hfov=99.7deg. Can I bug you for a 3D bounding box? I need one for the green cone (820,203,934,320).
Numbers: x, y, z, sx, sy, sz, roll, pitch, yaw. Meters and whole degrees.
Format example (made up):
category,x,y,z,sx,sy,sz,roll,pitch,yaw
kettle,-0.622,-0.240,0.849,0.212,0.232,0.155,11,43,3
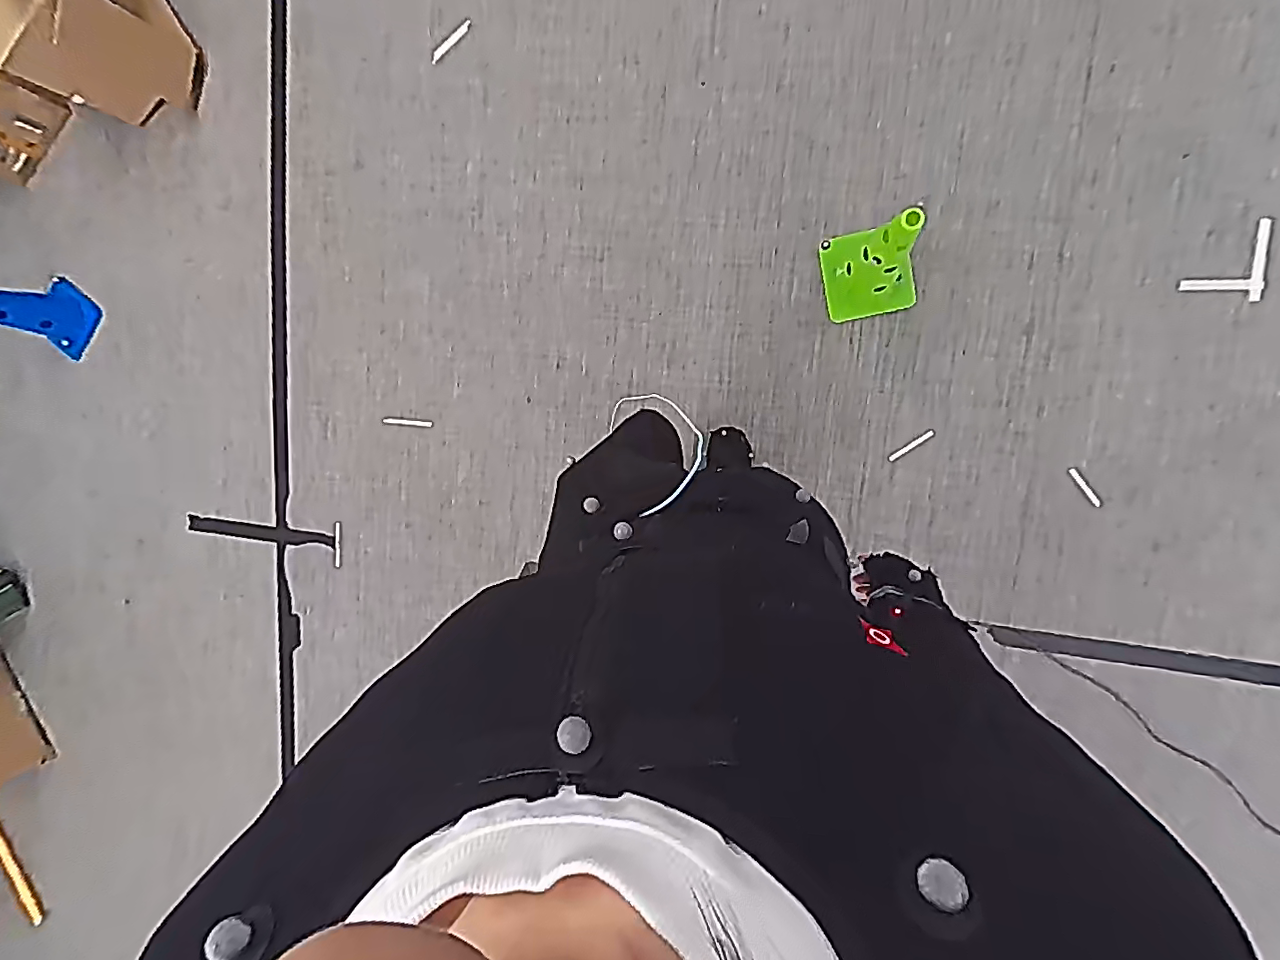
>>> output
category,x,y,z,sx,sy,sz,roll,pitch,yaw
green cone,0.518,-0.480,1.126,0.202,0.368,0.200,-11,94,10
